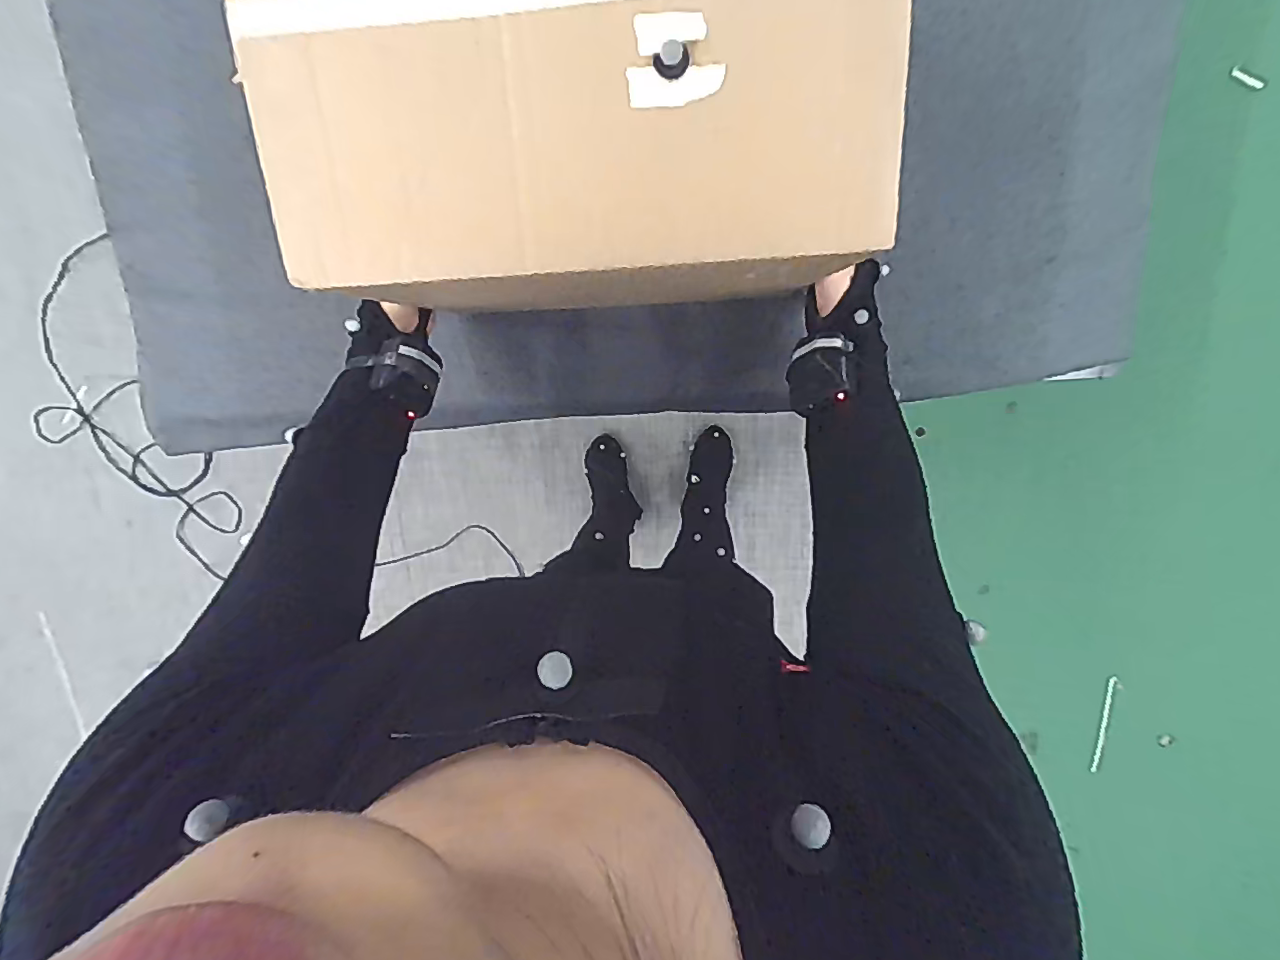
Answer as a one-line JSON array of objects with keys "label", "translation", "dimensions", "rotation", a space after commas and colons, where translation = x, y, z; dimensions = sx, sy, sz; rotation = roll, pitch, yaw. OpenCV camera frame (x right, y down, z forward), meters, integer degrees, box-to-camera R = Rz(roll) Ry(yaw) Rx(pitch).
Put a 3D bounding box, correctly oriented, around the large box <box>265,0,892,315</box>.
[{"label": "large box", "translation": [-0.038, -0.331, 0.484], "dimensions": [0.408, 0.320, 0.320], "rotation": [-3, 104, 3]}]
